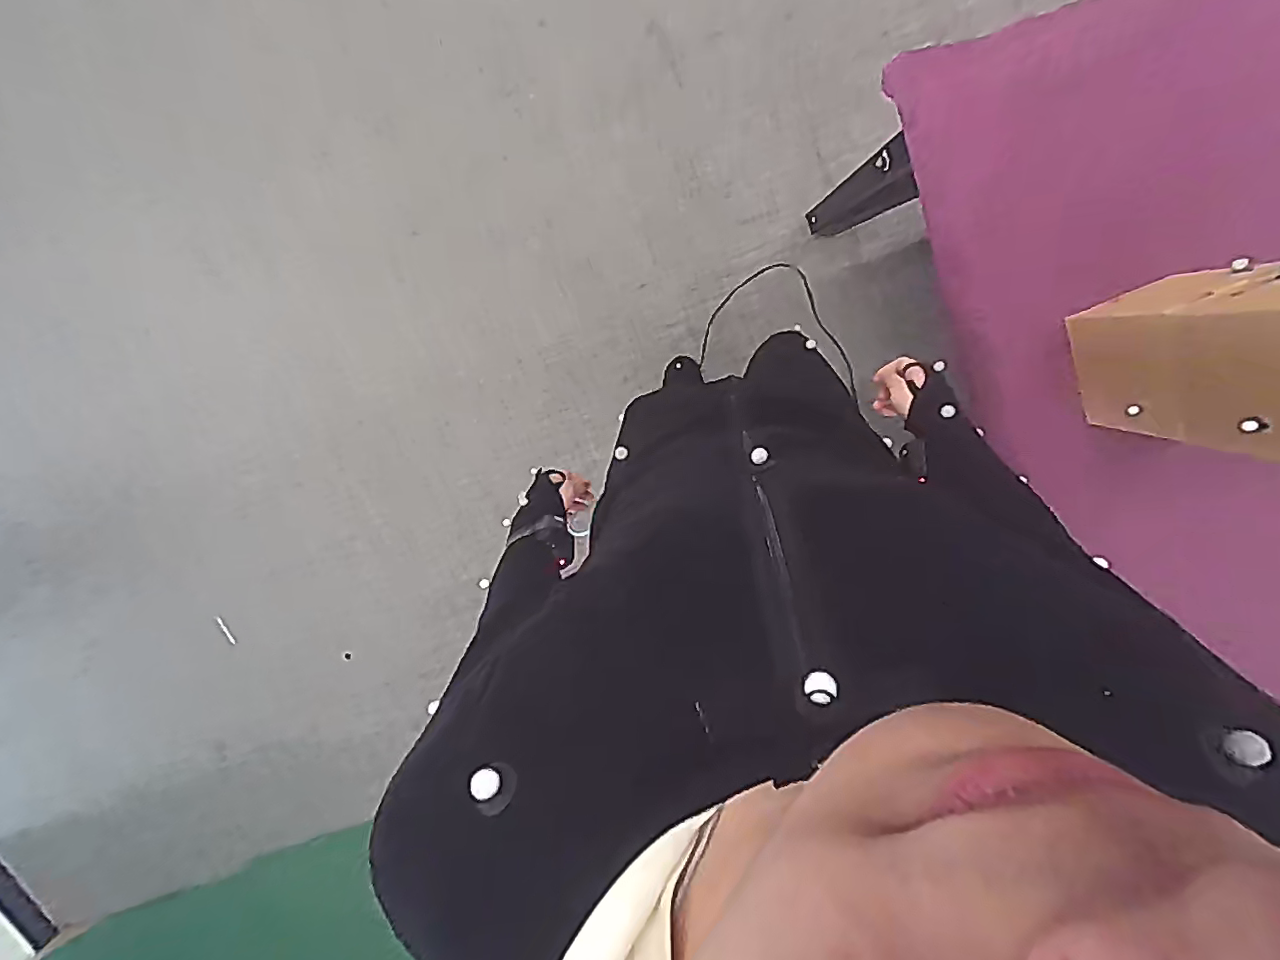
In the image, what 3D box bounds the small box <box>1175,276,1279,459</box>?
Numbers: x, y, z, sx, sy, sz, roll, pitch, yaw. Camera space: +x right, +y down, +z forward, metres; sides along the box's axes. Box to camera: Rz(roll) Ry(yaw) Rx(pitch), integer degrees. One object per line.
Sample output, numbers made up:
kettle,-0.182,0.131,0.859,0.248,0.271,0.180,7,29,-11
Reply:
small box,0.745,-0.129,0.582,0.168,0.176,0.179,-22,102,7
